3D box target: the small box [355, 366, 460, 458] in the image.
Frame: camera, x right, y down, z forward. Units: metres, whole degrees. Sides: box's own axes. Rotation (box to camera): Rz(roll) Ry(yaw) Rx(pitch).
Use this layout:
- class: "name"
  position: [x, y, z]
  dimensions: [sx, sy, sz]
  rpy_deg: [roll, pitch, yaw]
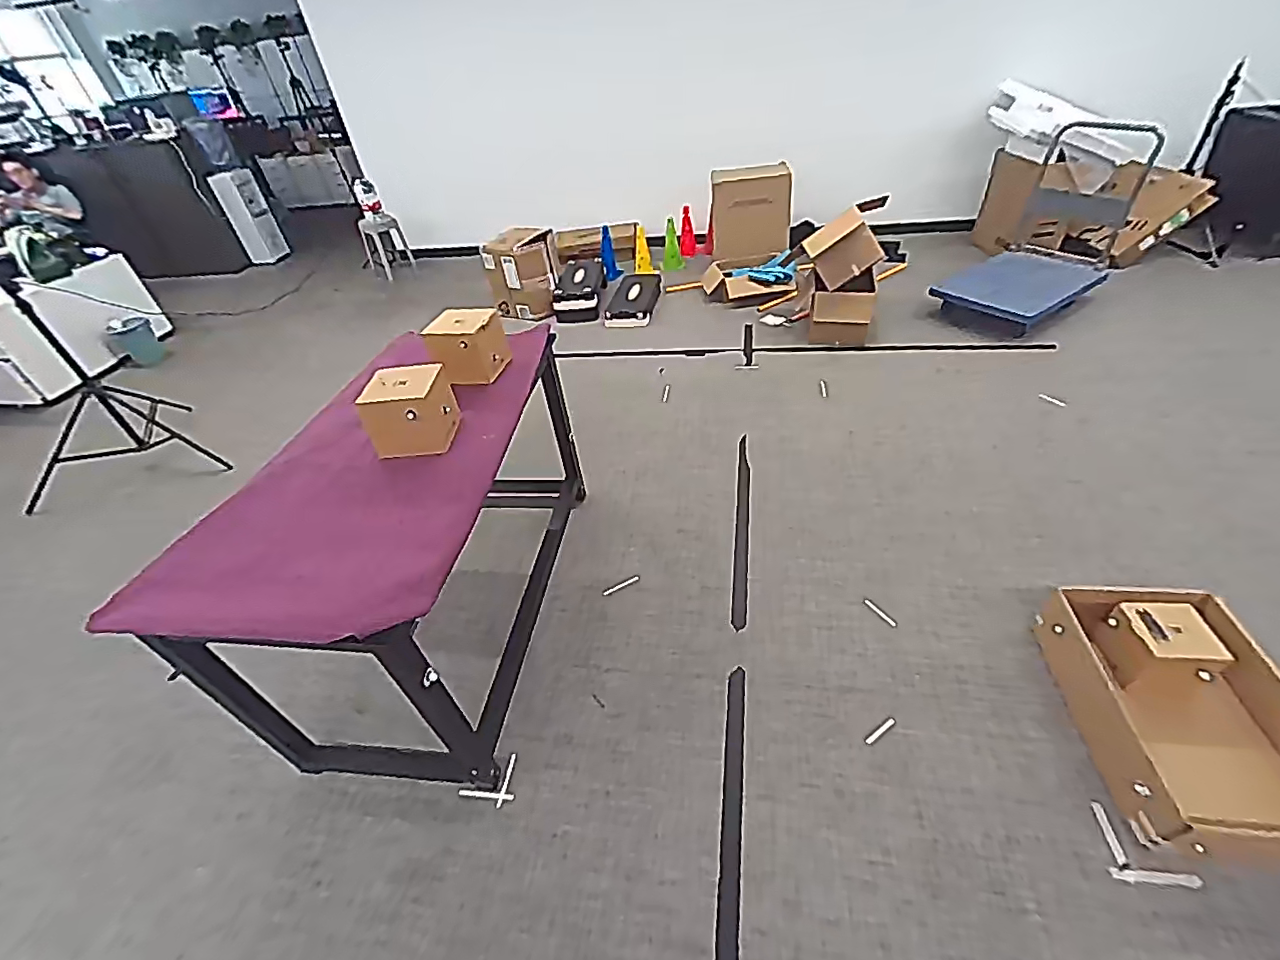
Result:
- class: "small box"
  position: [-0.584, -0.172, 1.388]
  dimensions: [0.179, 0.176, 0.168]
  rpy_deg: [-5, 40, 3]

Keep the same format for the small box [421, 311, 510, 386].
- class: "small box"
  position: [-0.523, -0.398, 1.642]
  dimensions: [0.179, 0.176, 0.168]
  rpy_deg: [3, 42, 14]
